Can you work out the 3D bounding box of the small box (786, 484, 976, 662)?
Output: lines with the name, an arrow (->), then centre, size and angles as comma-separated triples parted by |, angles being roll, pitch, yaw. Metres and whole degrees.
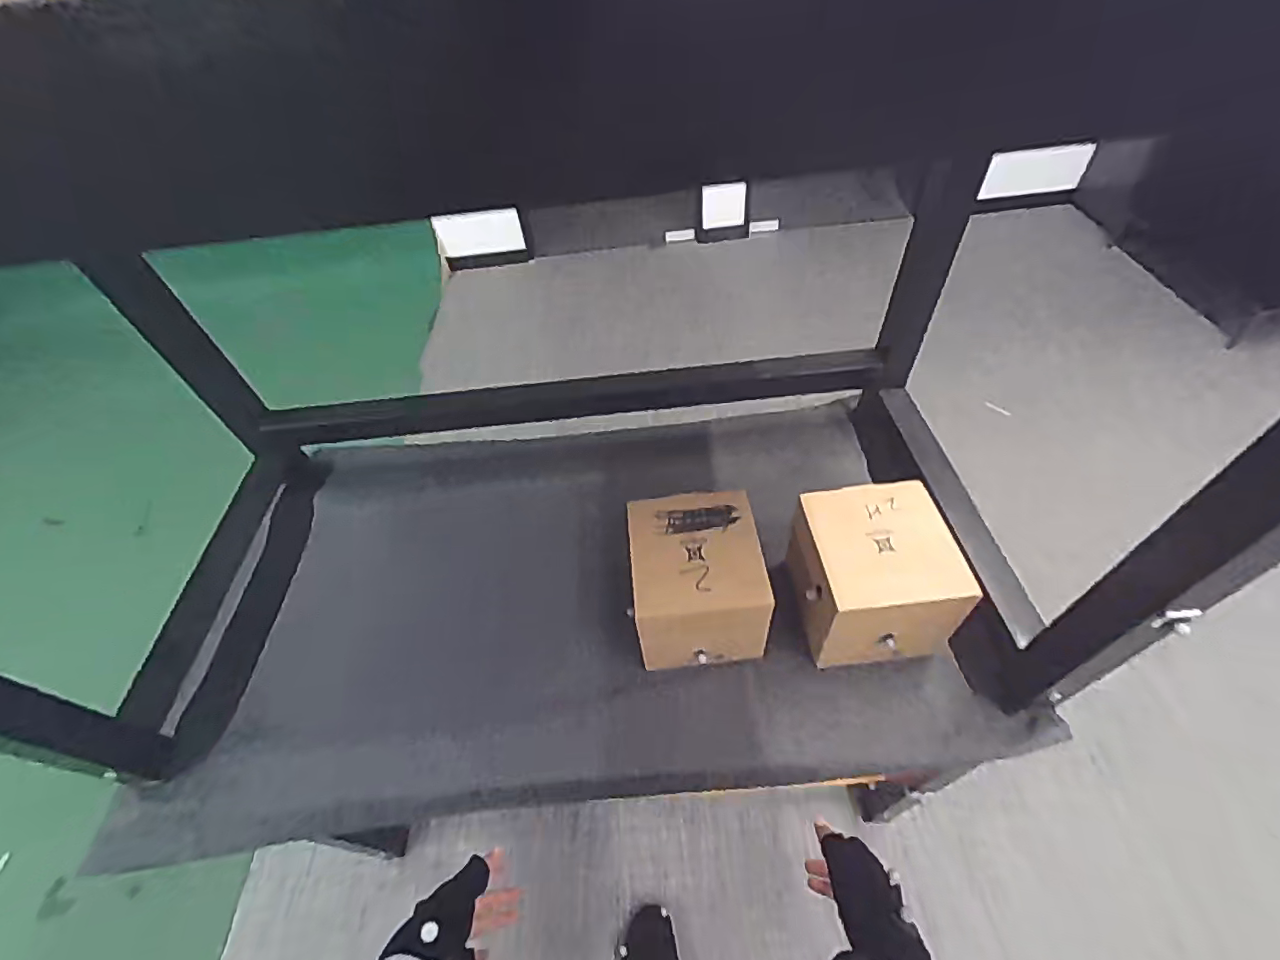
small box -> 0.305, 0.131, 0.730 | 0.168, 0.176, 0.179 | -7, 48, 1
